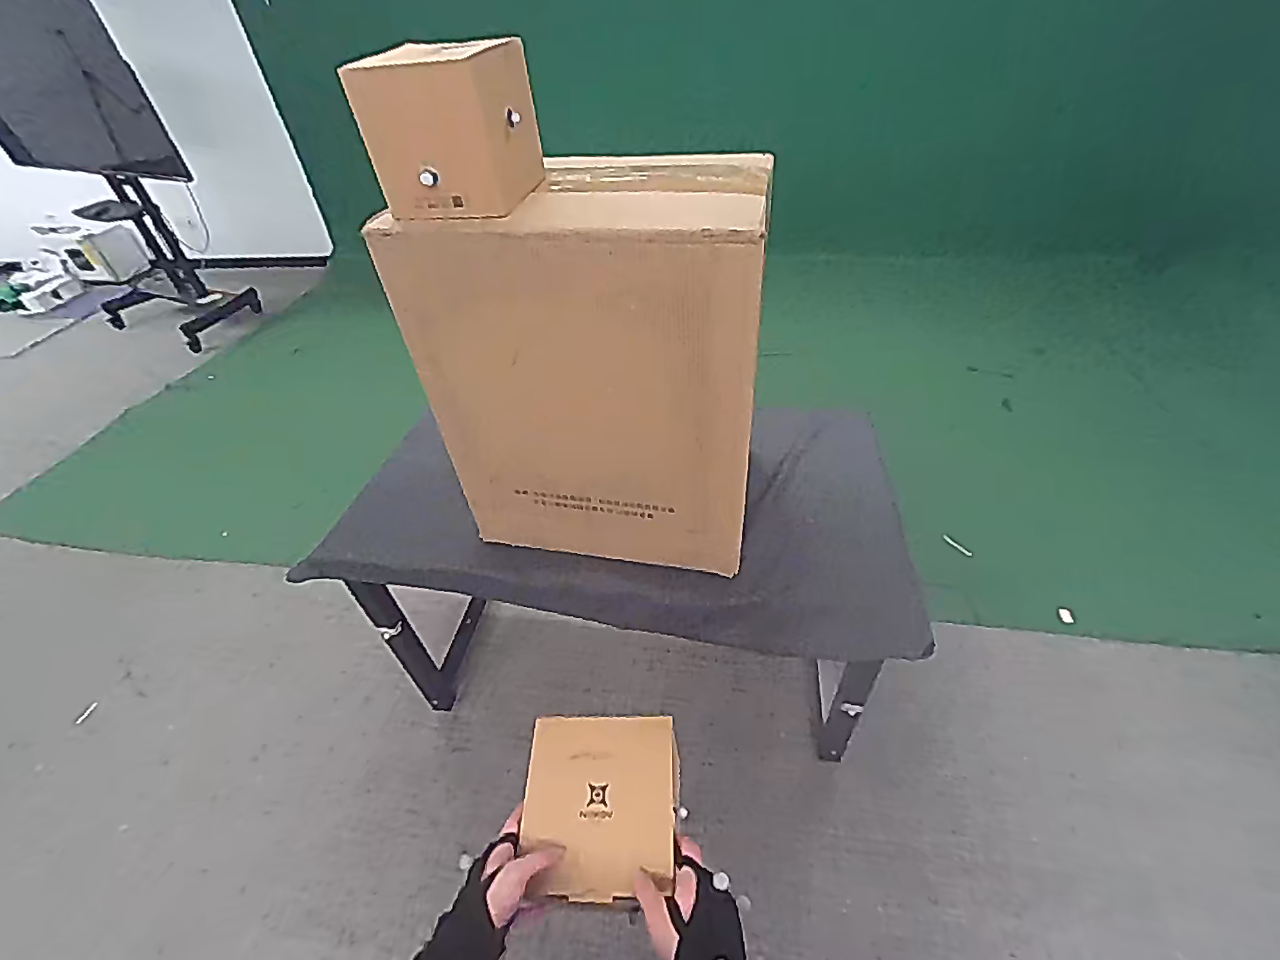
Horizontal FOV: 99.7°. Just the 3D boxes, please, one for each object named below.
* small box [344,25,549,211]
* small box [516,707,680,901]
[{"bbox_3d":[-0.229,-0.467,0.699,0.168,0.176,0.179,6,46,13],"label":"small box"},{"bbox_3d":[-0.036,0.390,0.649,0.168,0.176,0.179,-1,48,3],"label":"small box"}]
